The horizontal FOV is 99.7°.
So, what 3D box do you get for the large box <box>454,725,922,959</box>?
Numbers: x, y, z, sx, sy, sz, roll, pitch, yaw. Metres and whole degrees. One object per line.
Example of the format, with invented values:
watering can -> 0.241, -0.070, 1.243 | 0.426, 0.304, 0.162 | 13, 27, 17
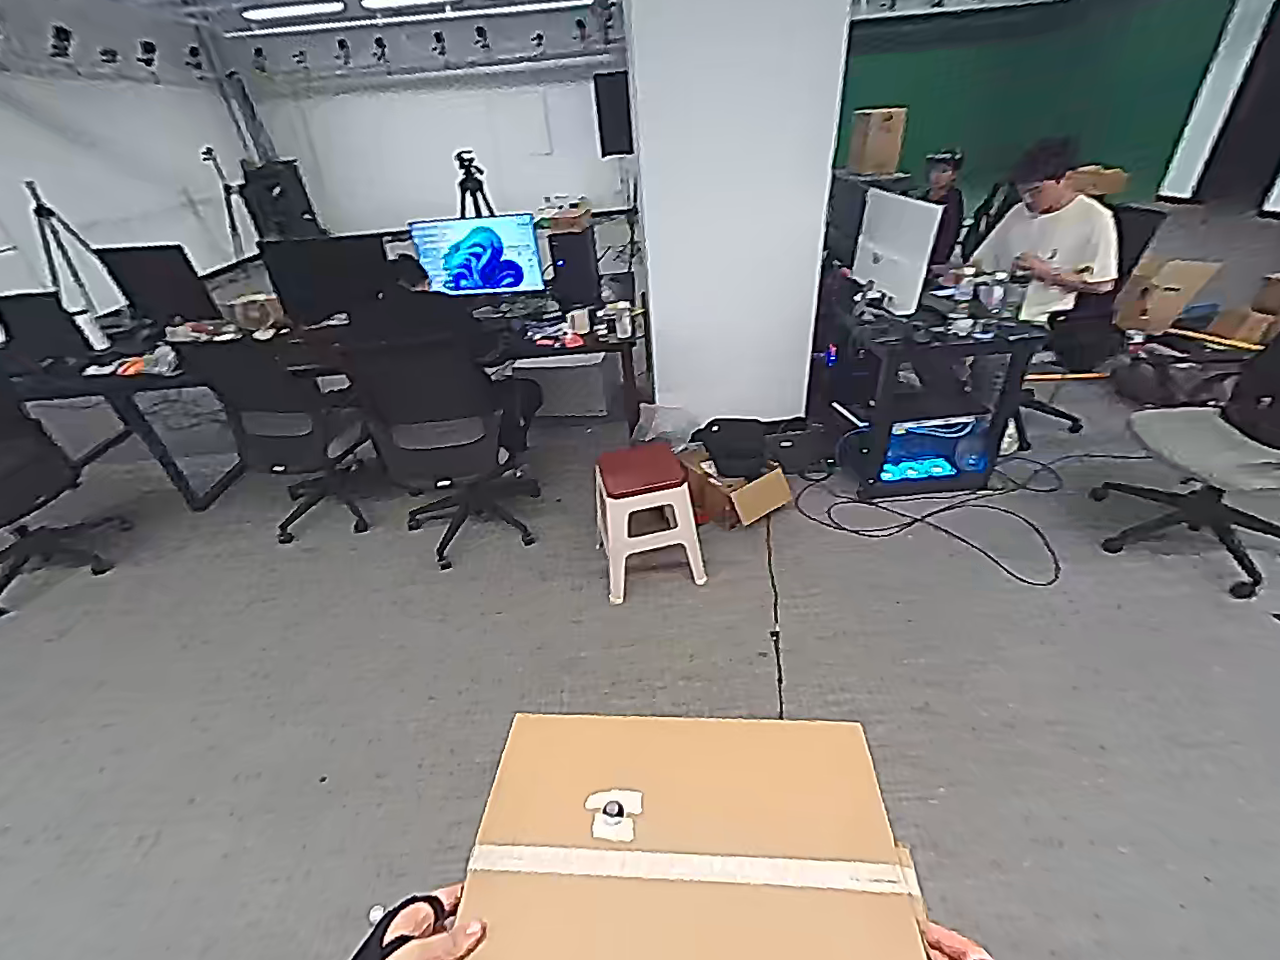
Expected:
large box -> 0.057, 0.498, 0.588 | 0.408, 0.320, 0.320 | -3, 31, 8
